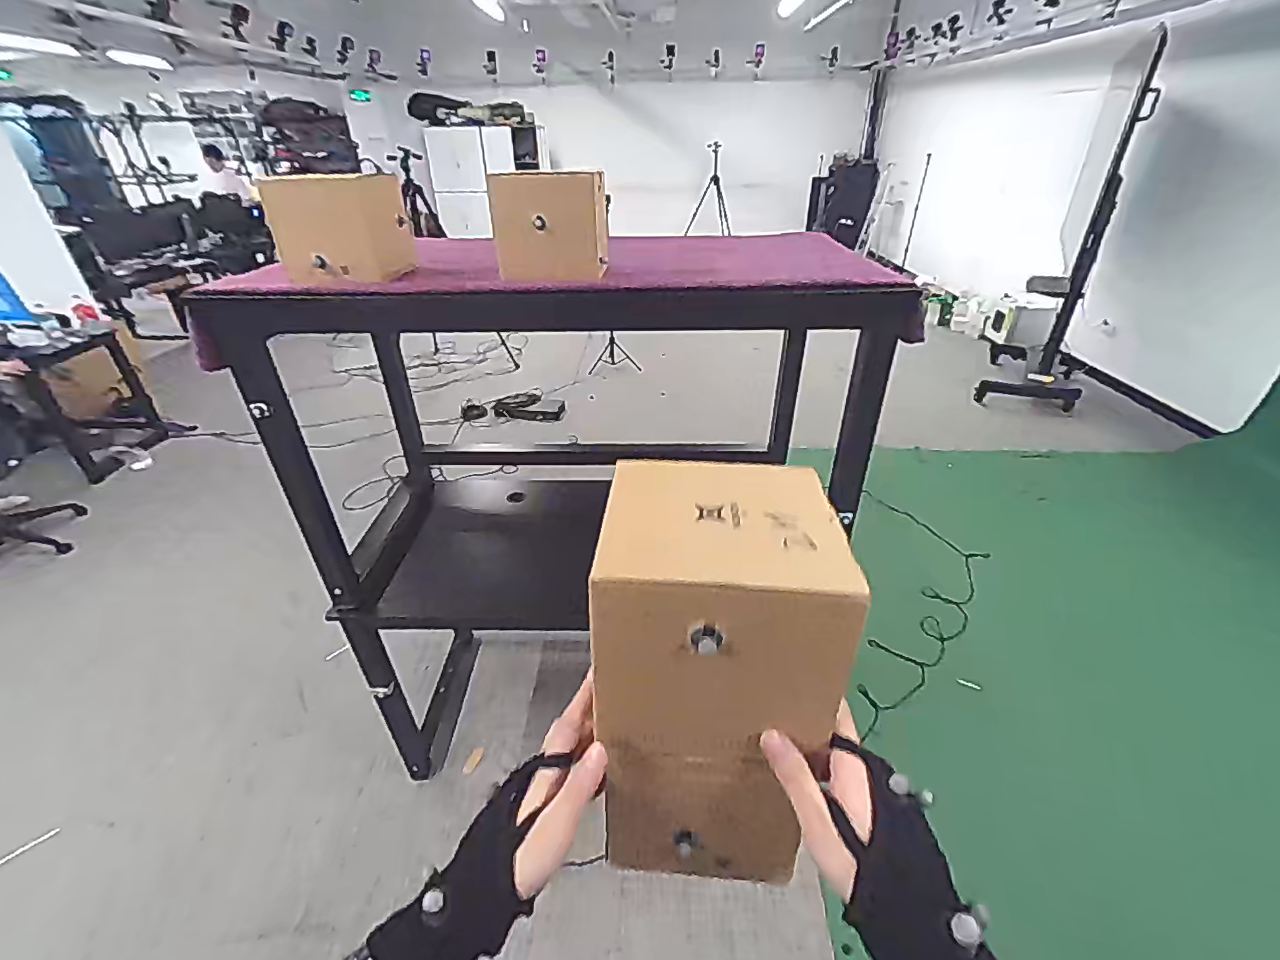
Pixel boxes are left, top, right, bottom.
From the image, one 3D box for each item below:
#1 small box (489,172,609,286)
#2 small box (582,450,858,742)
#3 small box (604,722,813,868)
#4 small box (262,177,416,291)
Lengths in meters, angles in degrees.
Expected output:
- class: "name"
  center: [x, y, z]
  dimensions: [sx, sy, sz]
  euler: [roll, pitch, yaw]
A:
- class: "small box"
  center: [-0.151, -0.452, 0.971]
  dimensions: [0.179, 0.176, 0.168]
  euler: [0, 31, 3]
- class: "small box"
  center: [0.055, 0.088, 0.442]
  dimensions: [0.179, 0.176, 0.168]
  euler: [3, 29, 4]
- class: "small box"
  center: [0.057, 0.231, 0.526]
  dimensions: [0.168, 0.176, 0.179]
  euler: [4, 29, 4]
- class: "small box"
  center: [-0.520, -0.444, 0.969]
  dimensions: [0.168, 0.176, 0.179]
  euler: [-1, 31, 0]
